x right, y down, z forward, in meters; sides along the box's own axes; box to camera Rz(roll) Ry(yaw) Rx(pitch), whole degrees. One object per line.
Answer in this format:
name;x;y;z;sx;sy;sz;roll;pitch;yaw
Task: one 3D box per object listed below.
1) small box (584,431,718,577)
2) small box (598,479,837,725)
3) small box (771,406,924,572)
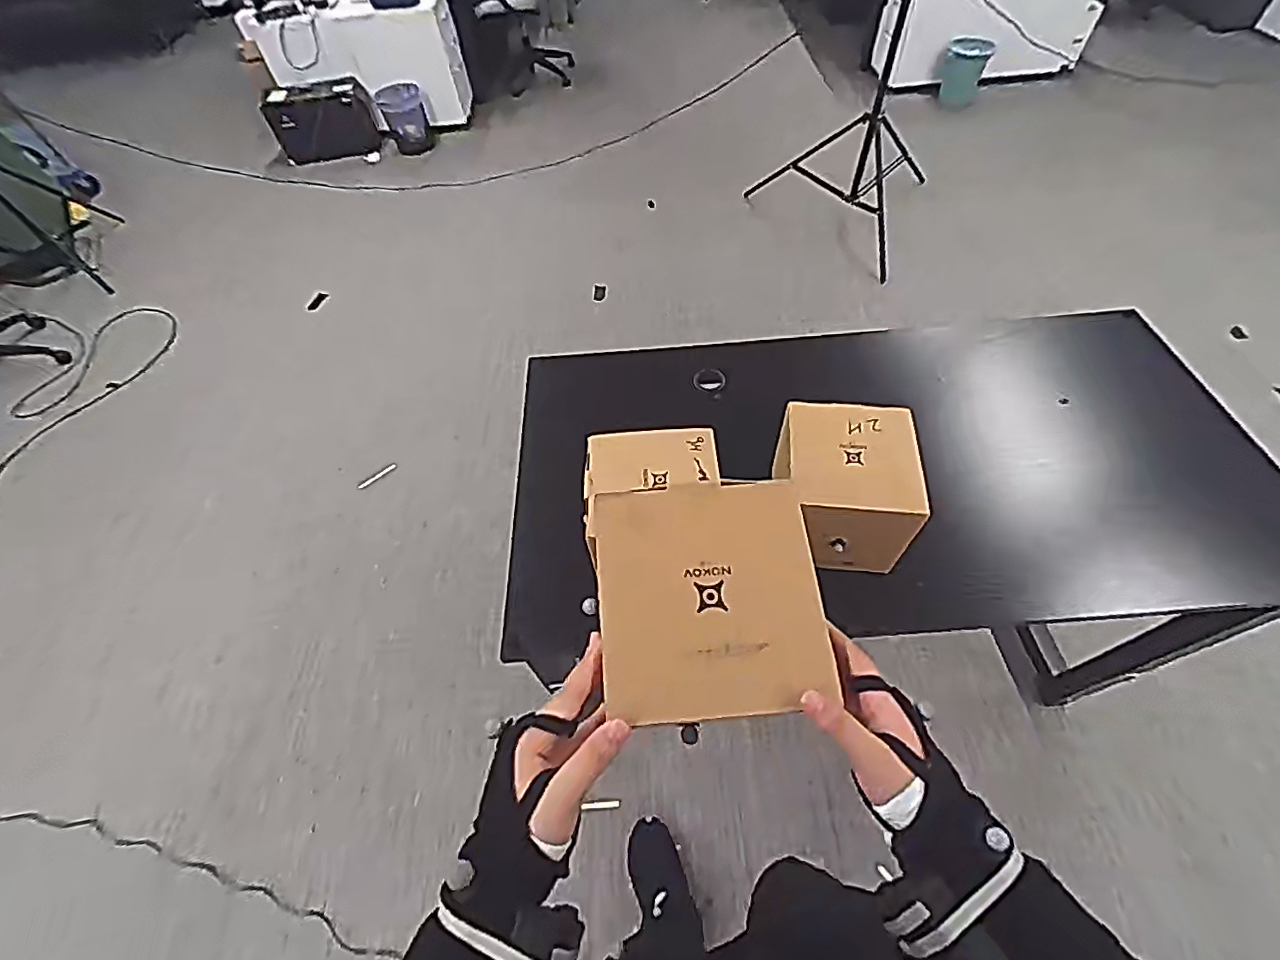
small box;0.022;0.050;0.775;0.179;0.176;0.168;-4;54;2
small box;0.048;0.115;0.480;0.168;0.176;0.179;-4;65;-3
small box;0.283;0.017;0.779;0.168;0.176;0.179;5;55;7
